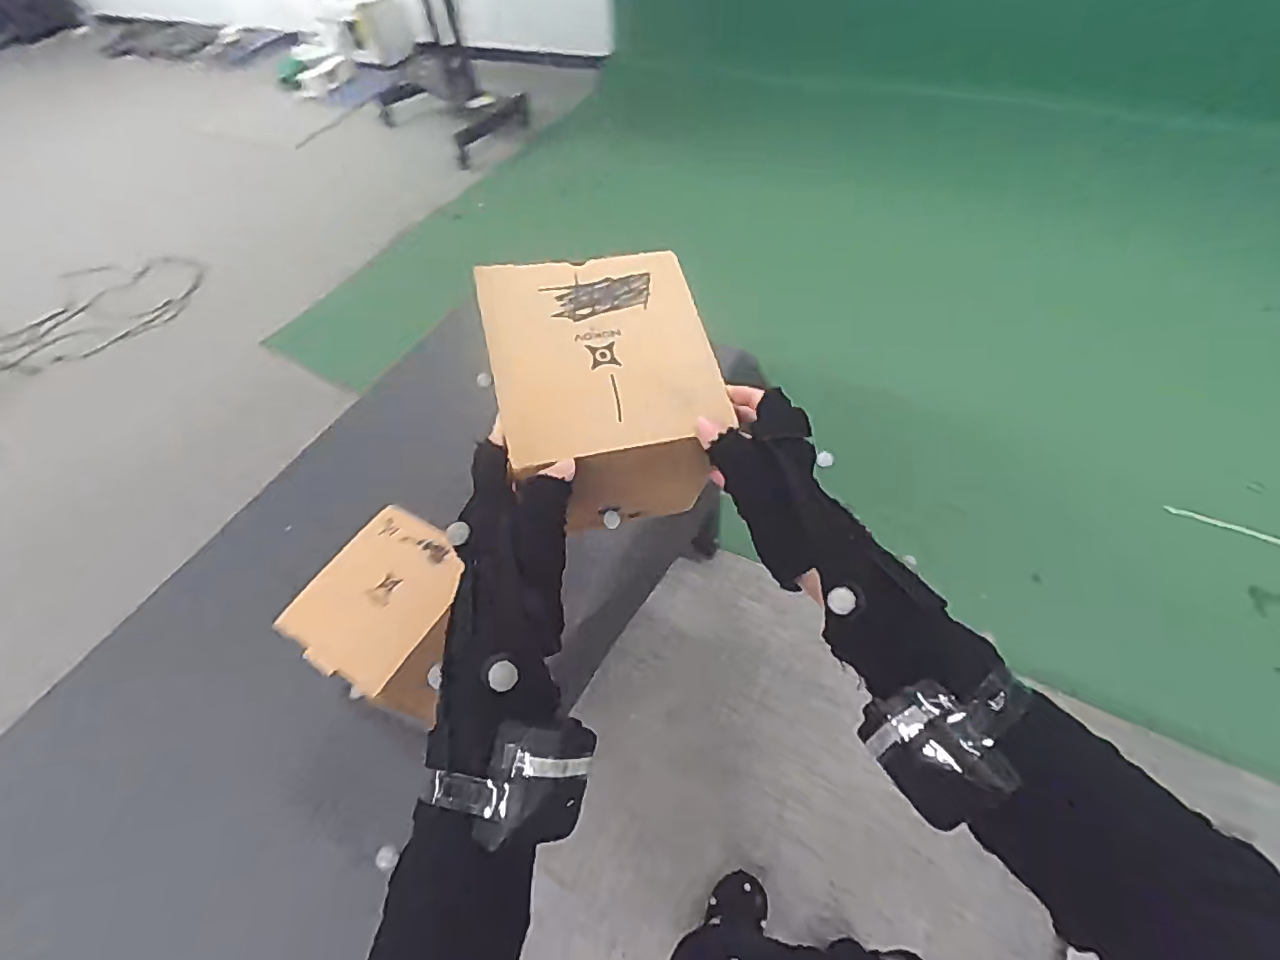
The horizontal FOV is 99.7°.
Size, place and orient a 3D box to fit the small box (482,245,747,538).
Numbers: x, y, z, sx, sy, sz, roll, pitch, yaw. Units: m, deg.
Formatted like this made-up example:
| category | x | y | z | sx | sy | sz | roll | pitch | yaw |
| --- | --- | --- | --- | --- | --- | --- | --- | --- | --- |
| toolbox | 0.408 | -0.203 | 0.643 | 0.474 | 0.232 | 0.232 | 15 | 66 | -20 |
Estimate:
| category | x | y | z | sx | sy | sz | roll | pitch | yaw |
| --- | --- | --- | --- | --- | --- | --- | --- | --- | --- |
| small box | -0.034 | -0.070 | 0.471 | 0.168 | 0.176 | 0.179 | -12 | 68 | -13 |

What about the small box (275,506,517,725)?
| category | x | y | z | sx | sy | sz | roll | pitch | yaw |
| --- | --- | --- | --- | --- | --- | --- | --- | --- | --- |
| small box | -0.278 | 0.169 | 0.659 | 0.168 | 0.176 | 0.179 | 23 | 61 | 22 |
